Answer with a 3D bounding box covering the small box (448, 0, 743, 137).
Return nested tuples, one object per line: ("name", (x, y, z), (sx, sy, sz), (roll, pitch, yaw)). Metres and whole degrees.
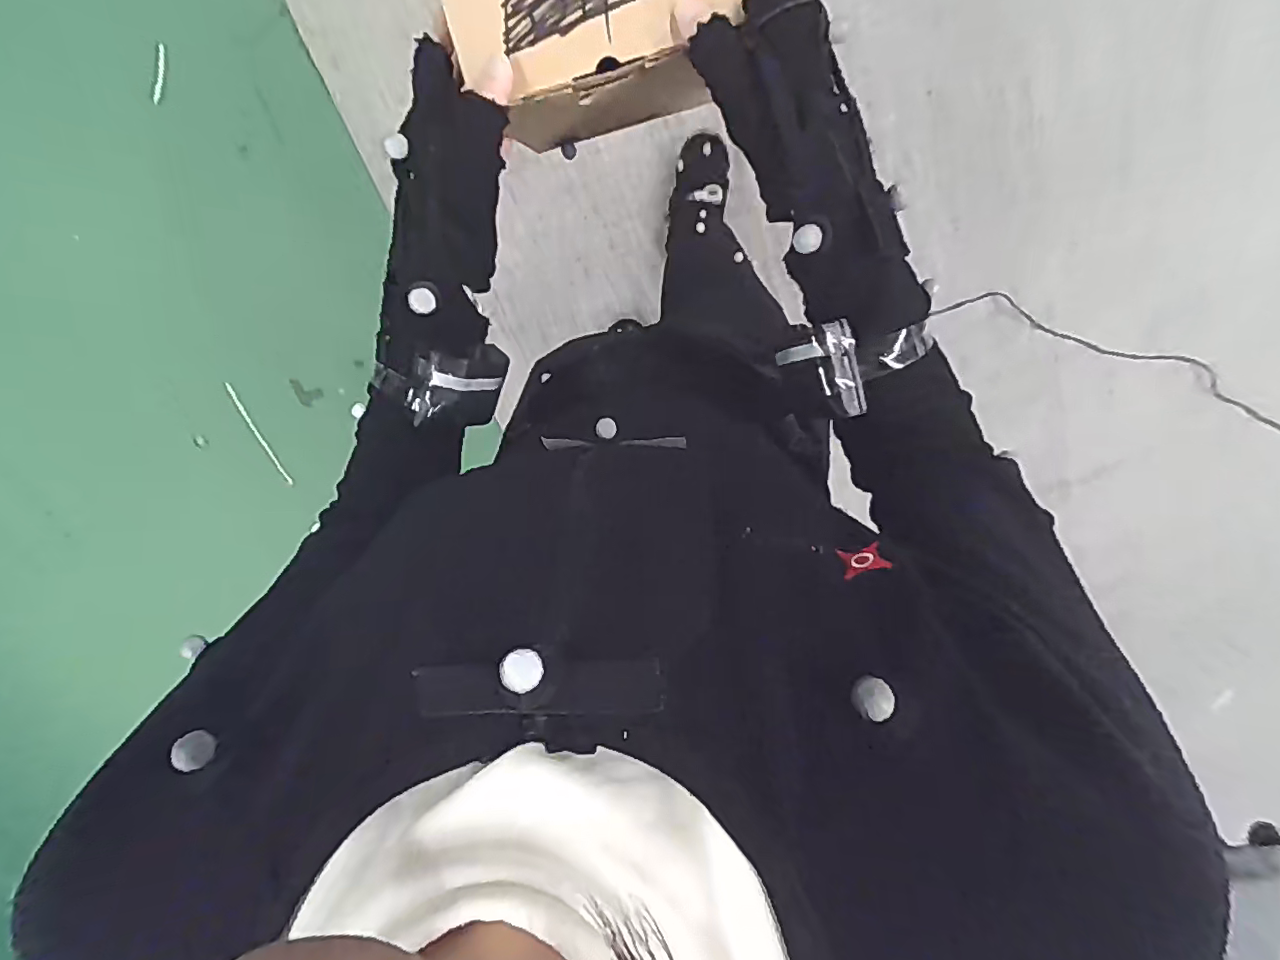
("small box", (-0.033, -0.349, 0.357), (0.168, 0.176, 0.179), (-11, 112, 8))
